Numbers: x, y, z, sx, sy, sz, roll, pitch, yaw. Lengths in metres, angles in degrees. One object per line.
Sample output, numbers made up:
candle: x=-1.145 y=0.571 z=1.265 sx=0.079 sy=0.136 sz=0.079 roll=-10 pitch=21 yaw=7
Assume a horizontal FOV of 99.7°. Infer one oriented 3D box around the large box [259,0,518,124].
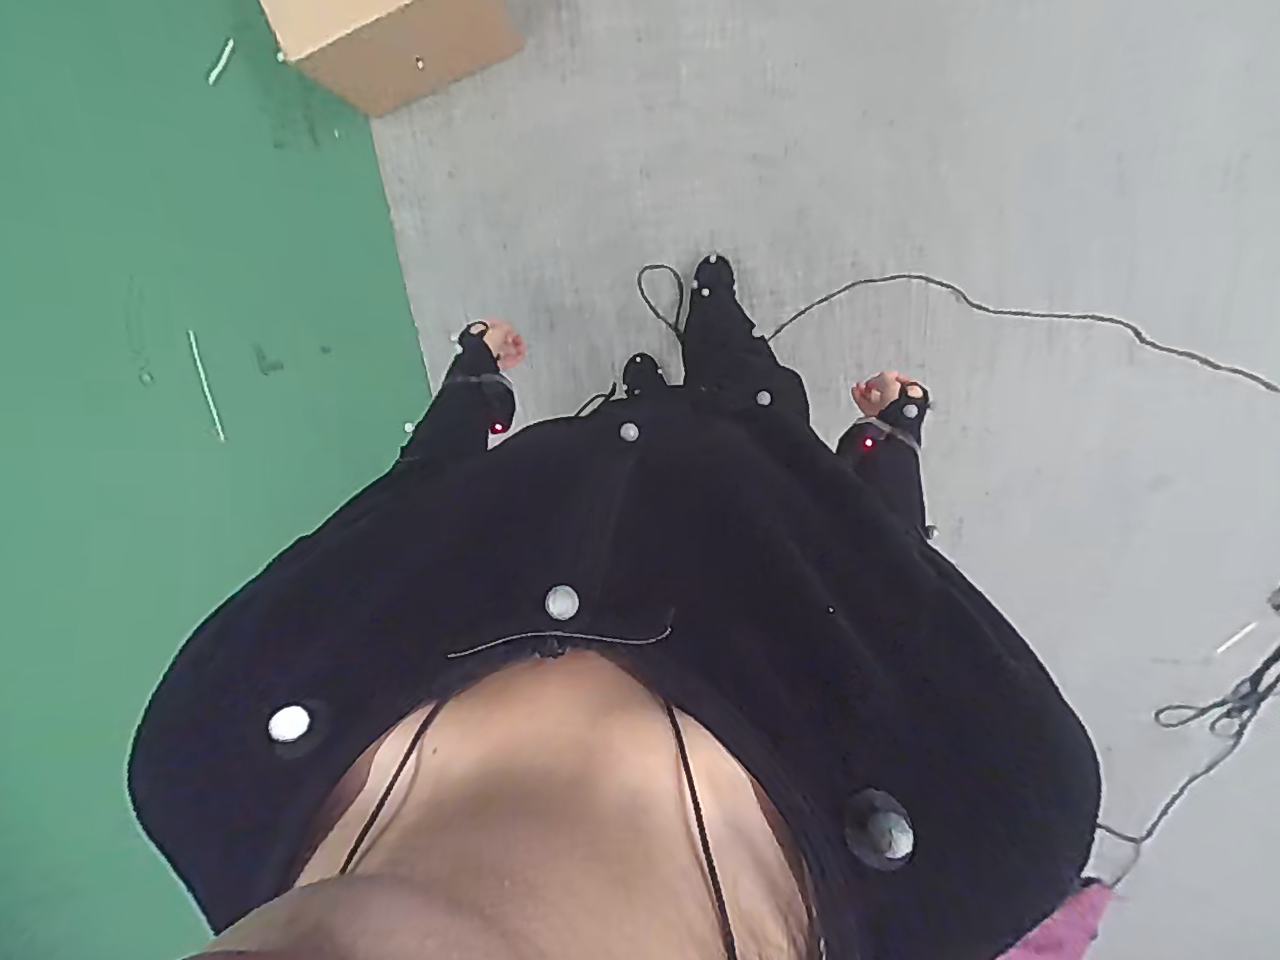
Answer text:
large box: x=-0.530 y=-1.032 z=1.127 sx=0.408 sy=0.320 sz=0.320 roll=-18 pitch=103 yaw=10
